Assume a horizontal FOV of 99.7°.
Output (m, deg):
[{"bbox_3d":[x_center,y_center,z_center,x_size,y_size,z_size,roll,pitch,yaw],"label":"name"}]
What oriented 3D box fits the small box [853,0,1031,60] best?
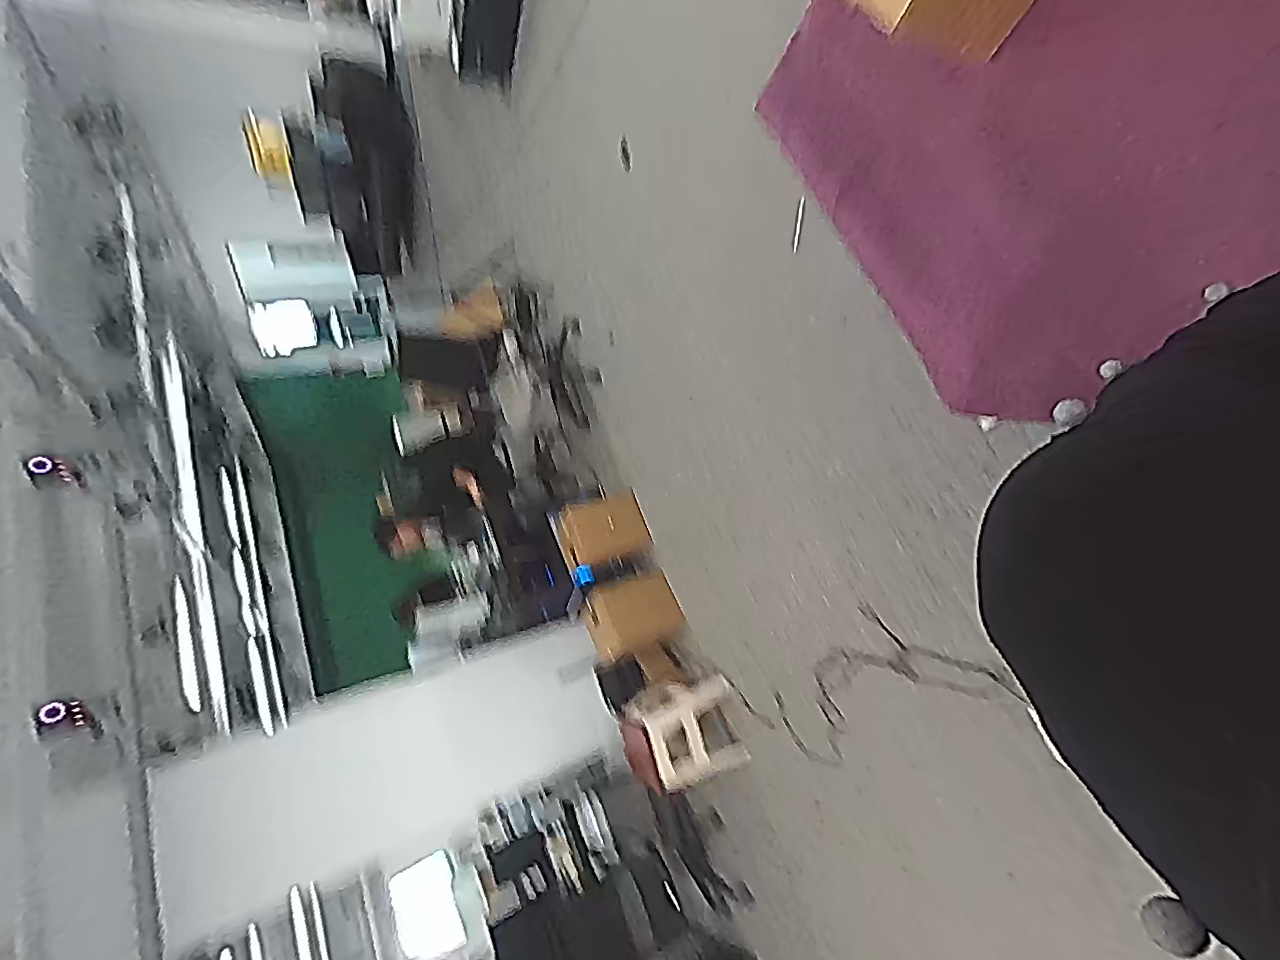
[{"bbox_3d":[0.305,-0.549,0.514,0.168,0.176,0.179,64,149,21],"label":"small box"}]
